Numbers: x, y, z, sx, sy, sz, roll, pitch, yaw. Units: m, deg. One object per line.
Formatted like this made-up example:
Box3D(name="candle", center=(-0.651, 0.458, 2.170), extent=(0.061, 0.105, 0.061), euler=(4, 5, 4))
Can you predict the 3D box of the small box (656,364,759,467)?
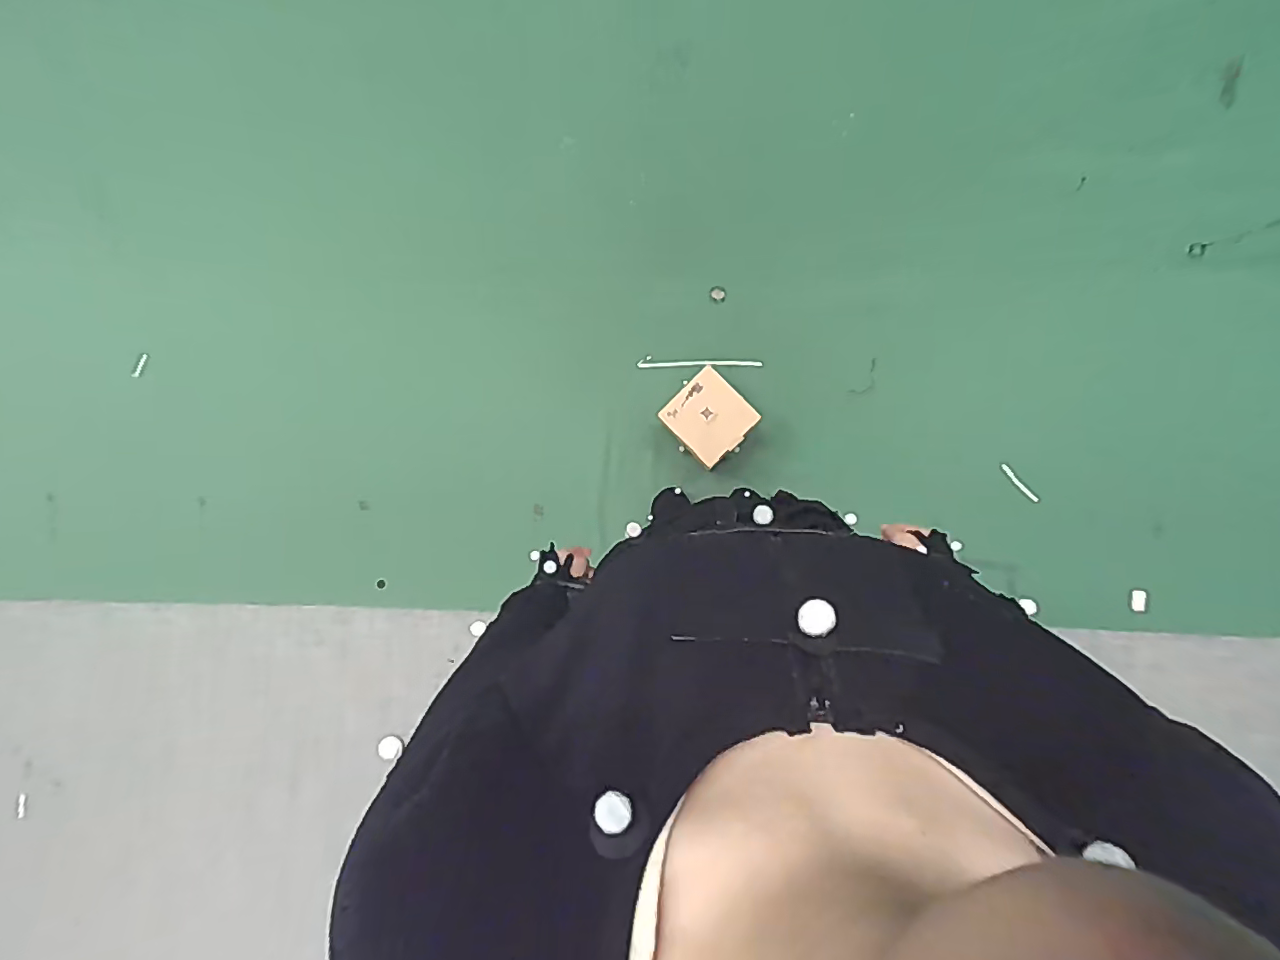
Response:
Box3D(name="small box", center=(0.160, -0.147, 1.291), extent=(0.168, 0.176, 0.179), euler=(-44, 86, 4))
